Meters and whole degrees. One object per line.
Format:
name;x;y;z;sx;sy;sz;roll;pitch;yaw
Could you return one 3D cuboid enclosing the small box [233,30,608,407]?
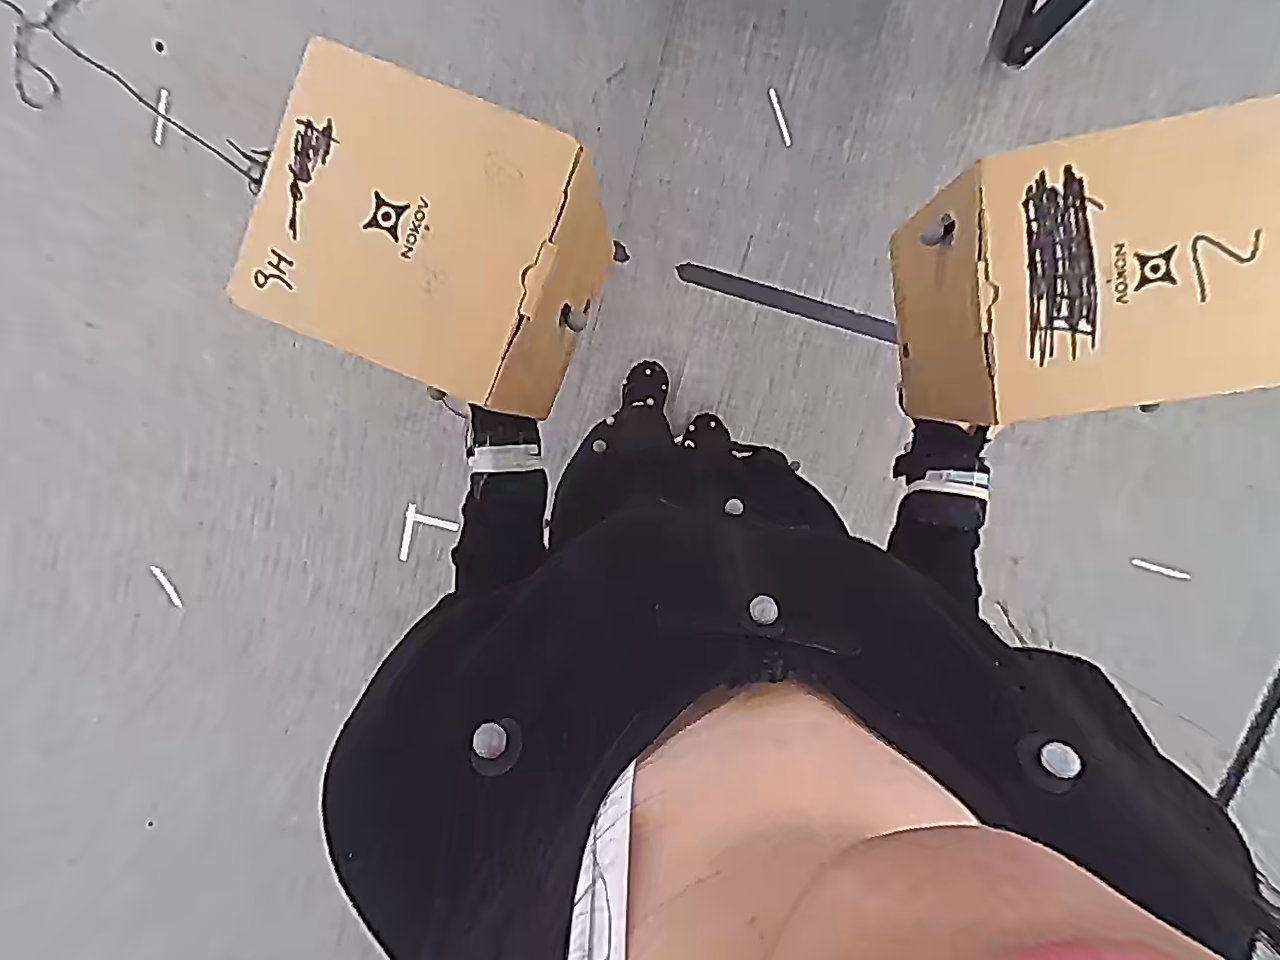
small box;-0.133;-0.160;0.398;0.179;0.176;0.168;22;95;0
